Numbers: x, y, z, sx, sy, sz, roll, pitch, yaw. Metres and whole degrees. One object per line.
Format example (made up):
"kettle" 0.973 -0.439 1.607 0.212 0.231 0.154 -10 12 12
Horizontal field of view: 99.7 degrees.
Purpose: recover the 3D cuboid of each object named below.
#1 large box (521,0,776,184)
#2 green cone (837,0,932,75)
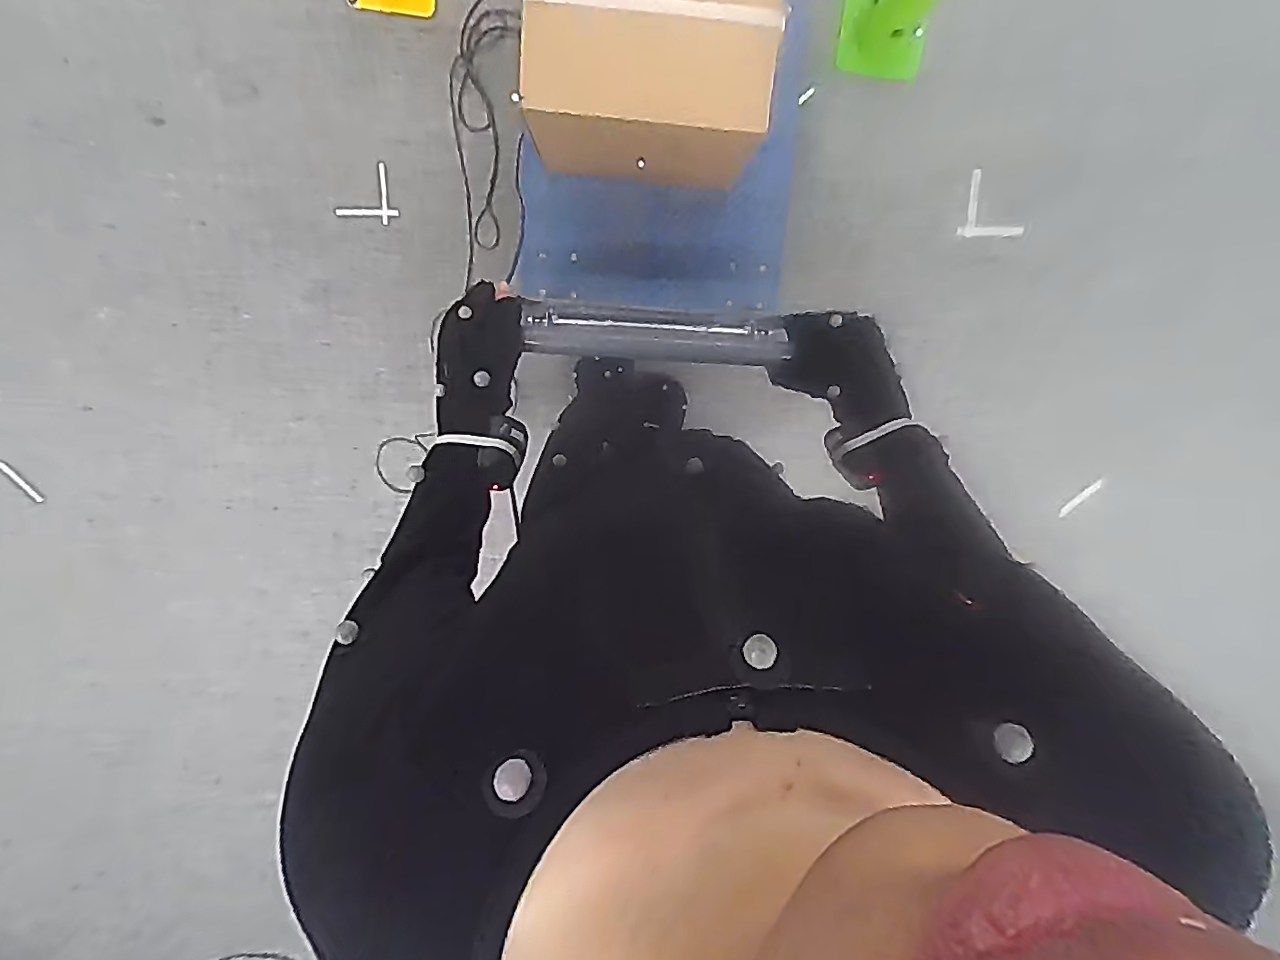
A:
"large box" 0.014 -0.762 0.992 0.408 0.320 0.320 4 103 -2
"green cone" 0.575 -1.028 1.092 0.202 0.368 0.200 5 102 -4
